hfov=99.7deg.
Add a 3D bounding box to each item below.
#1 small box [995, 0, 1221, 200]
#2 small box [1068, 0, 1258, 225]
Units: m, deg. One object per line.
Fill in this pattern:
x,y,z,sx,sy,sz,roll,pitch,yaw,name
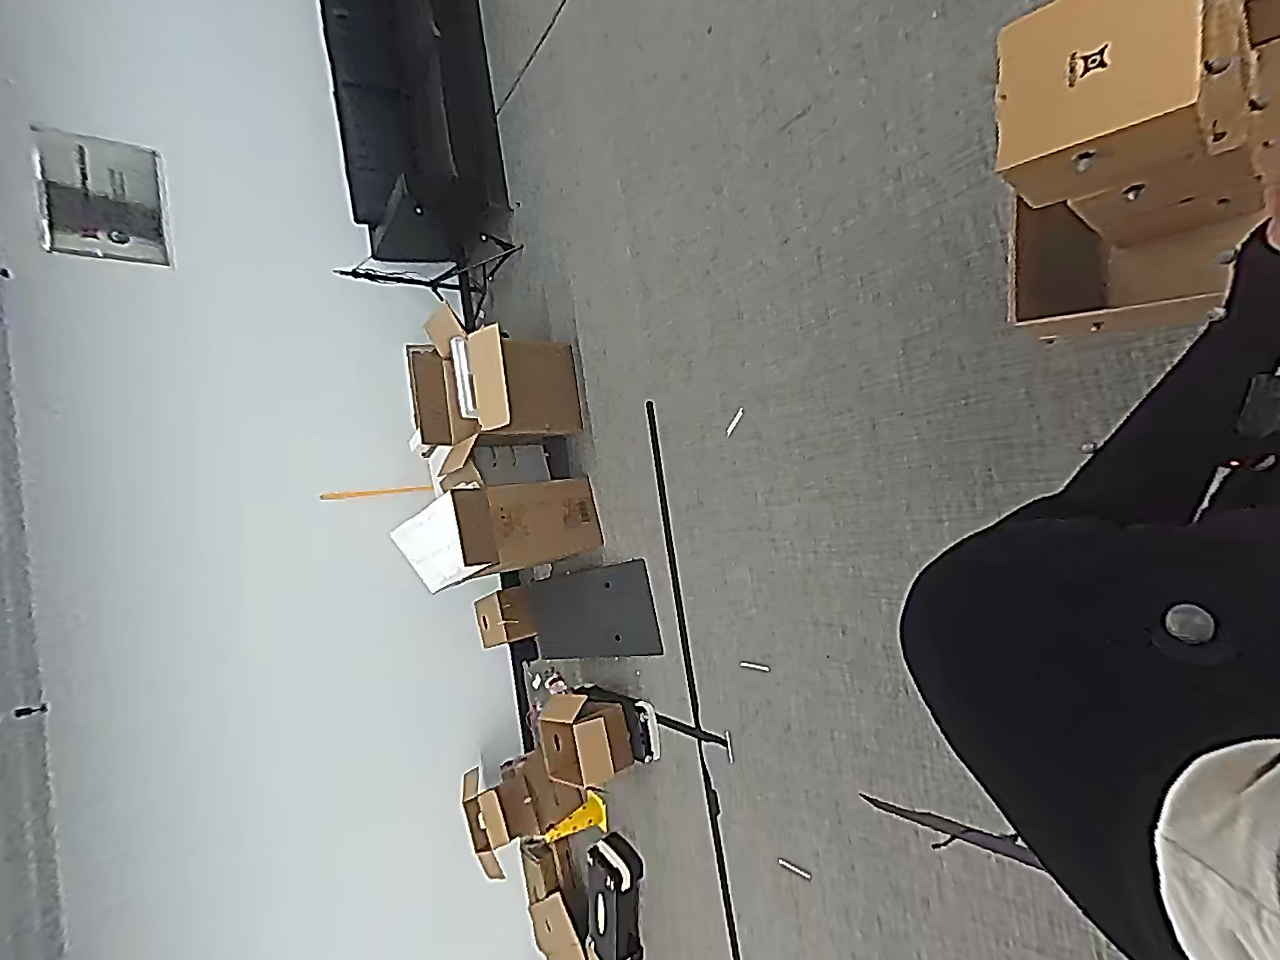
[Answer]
0.543,-0.456,0.630,0.179,0.176,0.168,3,97,51,small box
0.684,-0.467,0.713,0.168,0.176,0.179,-1,93,51,small box
